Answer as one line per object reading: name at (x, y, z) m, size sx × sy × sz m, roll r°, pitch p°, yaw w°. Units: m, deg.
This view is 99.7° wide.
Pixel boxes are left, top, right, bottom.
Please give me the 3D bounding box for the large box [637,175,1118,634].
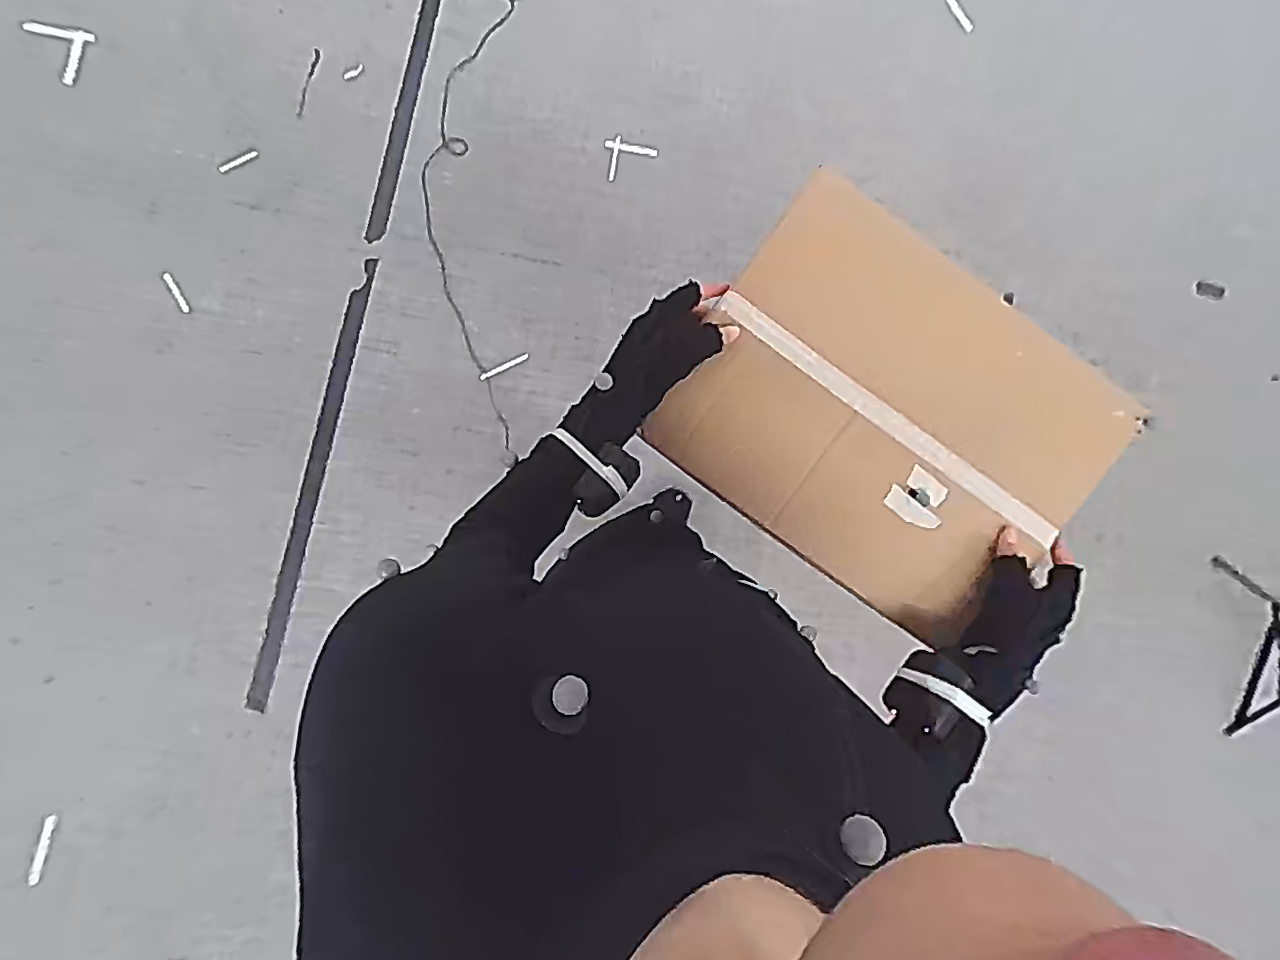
large box at (0.242, -0.082, 0.700) m, size 0.408 × 0.320 × 0.320 m, roll 36°, pitch 94°, yaw -3°
